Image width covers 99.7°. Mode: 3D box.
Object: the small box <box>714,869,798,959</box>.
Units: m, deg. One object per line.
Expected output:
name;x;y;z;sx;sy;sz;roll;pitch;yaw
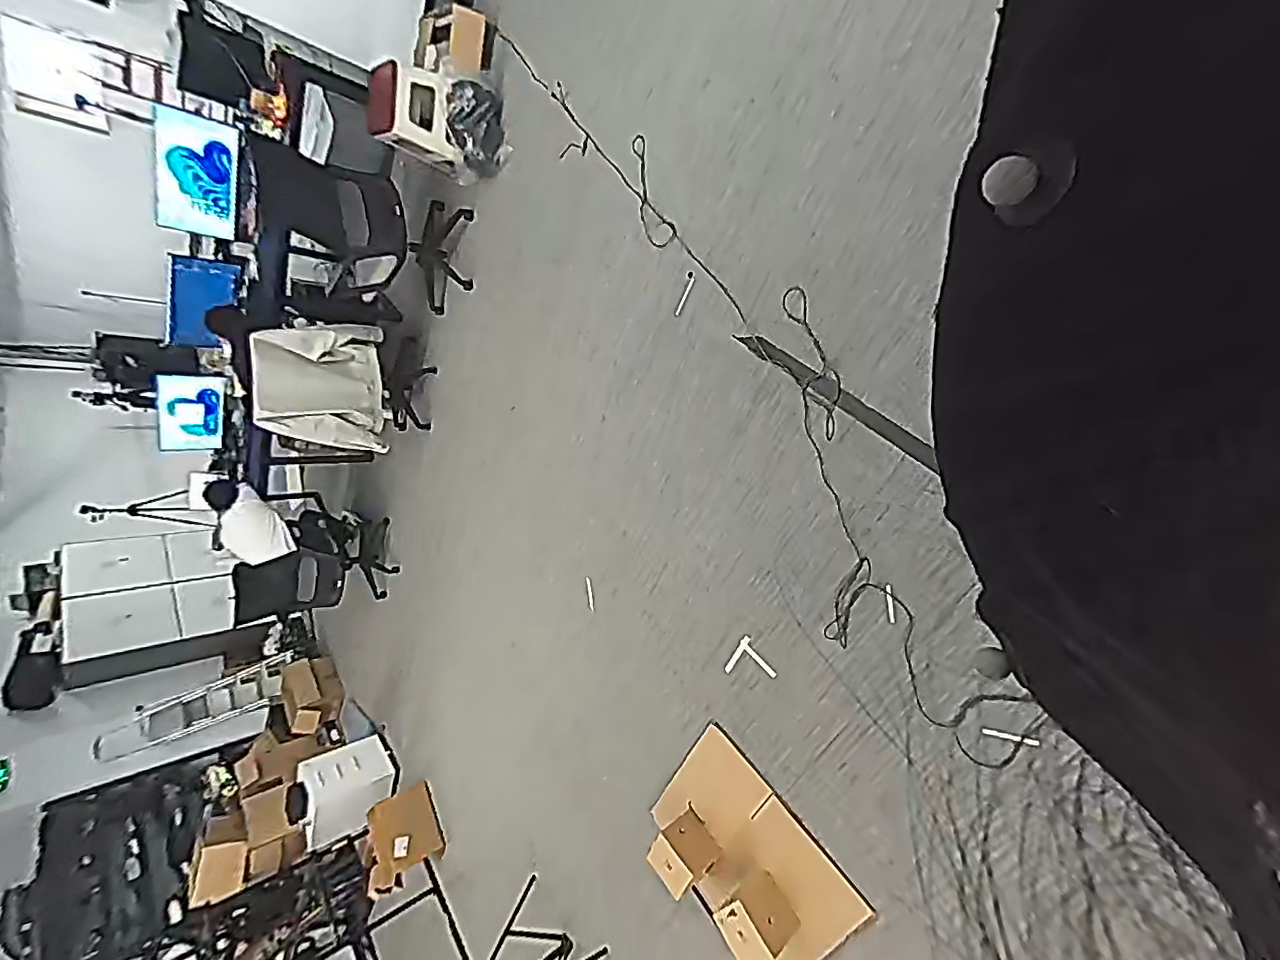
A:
small box;0.384;1.437;1.776;0.179;0.176;0.168;51;126;27

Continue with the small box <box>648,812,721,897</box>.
small box;0.165;1.367;1.992;0.179;0.176;0.168;39;121;36
